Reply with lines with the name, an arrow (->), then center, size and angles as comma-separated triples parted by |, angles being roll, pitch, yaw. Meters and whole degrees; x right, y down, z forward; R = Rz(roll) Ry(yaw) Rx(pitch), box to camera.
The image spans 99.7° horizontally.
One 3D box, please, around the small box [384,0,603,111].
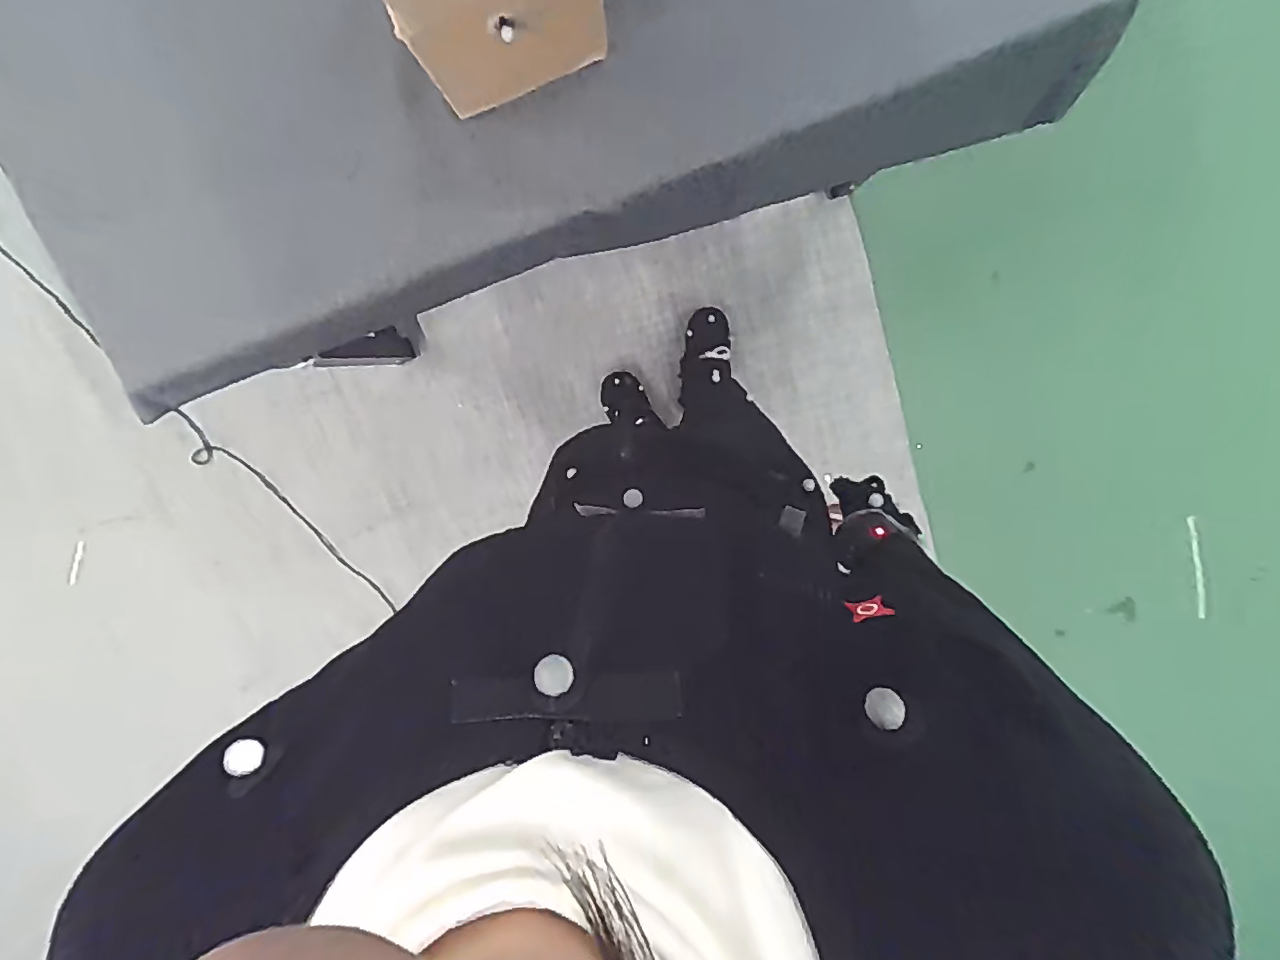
small box -> -0.144, -0.482, 0.494 | 0.179, 0.176, 0.168 | -21, 103, 4
